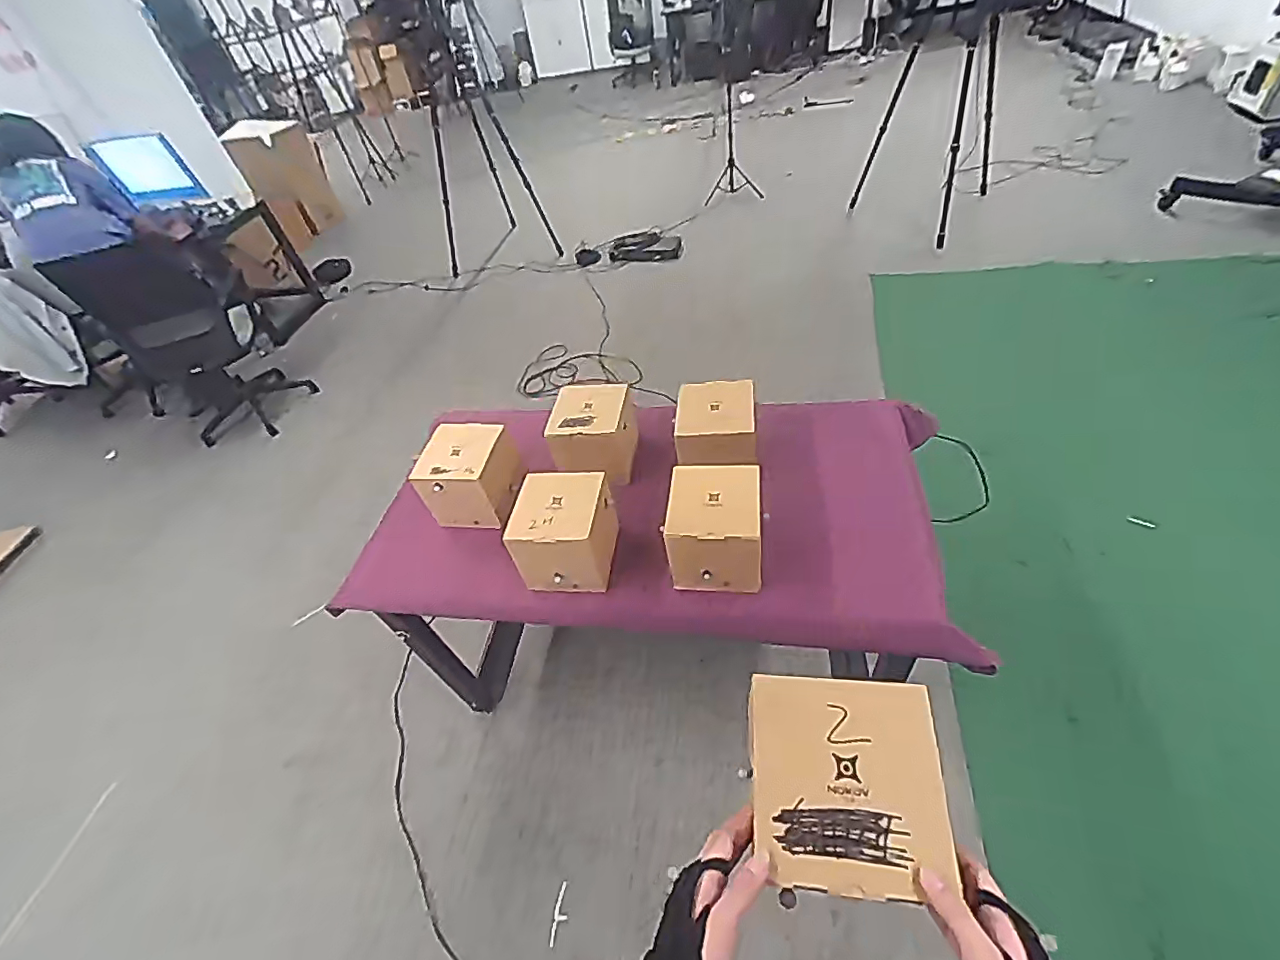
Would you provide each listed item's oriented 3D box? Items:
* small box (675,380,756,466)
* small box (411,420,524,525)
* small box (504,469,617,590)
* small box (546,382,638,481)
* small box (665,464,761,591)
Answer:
[{"bbox_3d":[0.175,-0.104,1.214,0.168,0.176,0.179,-1,48,12],"label":"small box"},{"bbox_3d":[-0.383,-0.019,1.241,0.168,0.176,0.179,1,47,14],"label":"small box"},{"bbox_3d":[-0.147,0.097,1.084,0.168,0.176,0.179,0,46,12],"label":"small box"},{"bbox_3d":[-0.103,-0.111,1.275,0.168,0.176,0.179,0,47,12],"label":"small box"},{"bbox_3d":[0.146,0.089,1.036,0.168,0.176,0.179,0,47,12],"label":"small box"}]
